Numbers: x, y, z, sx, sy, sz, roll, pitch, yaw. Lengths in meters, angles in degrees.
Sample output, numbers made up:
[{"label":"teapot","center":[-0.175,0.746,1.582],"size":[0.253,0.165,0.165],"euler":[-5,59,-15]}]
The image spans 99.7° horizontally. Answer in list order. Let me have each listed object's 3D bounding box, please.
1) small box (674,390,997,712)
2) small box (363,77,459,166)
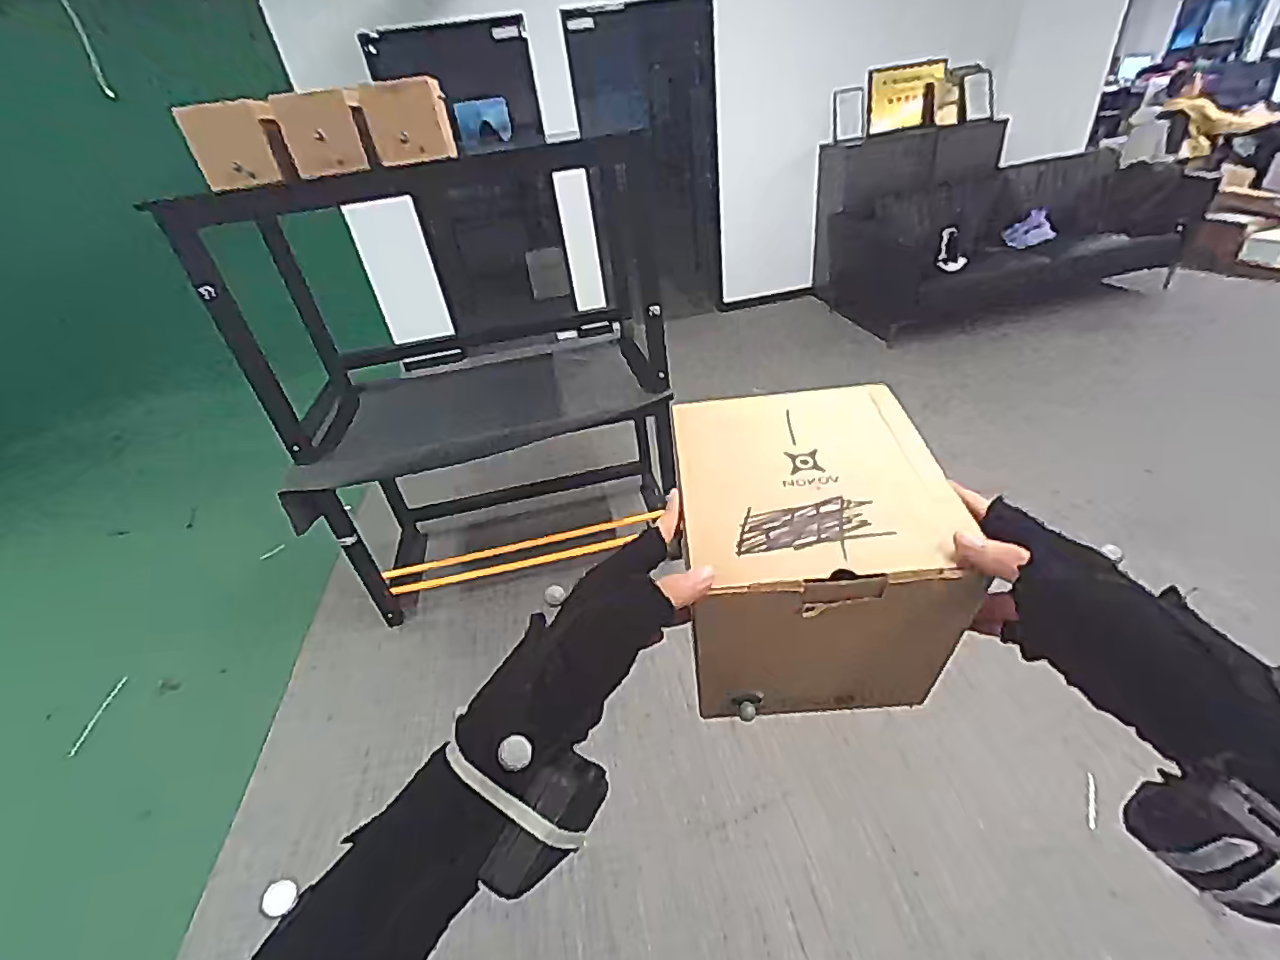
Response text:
[{"label":"small box","center":[0.116,0.057,0.403],"size":[0.168,0.176,0.179],"euler":[-5,42,3]},{"label":"small box","center":[-0.565,-0.898,1.362],"size":[0.168,0.176,0.179],"euler":[-11,35,-5]}]
